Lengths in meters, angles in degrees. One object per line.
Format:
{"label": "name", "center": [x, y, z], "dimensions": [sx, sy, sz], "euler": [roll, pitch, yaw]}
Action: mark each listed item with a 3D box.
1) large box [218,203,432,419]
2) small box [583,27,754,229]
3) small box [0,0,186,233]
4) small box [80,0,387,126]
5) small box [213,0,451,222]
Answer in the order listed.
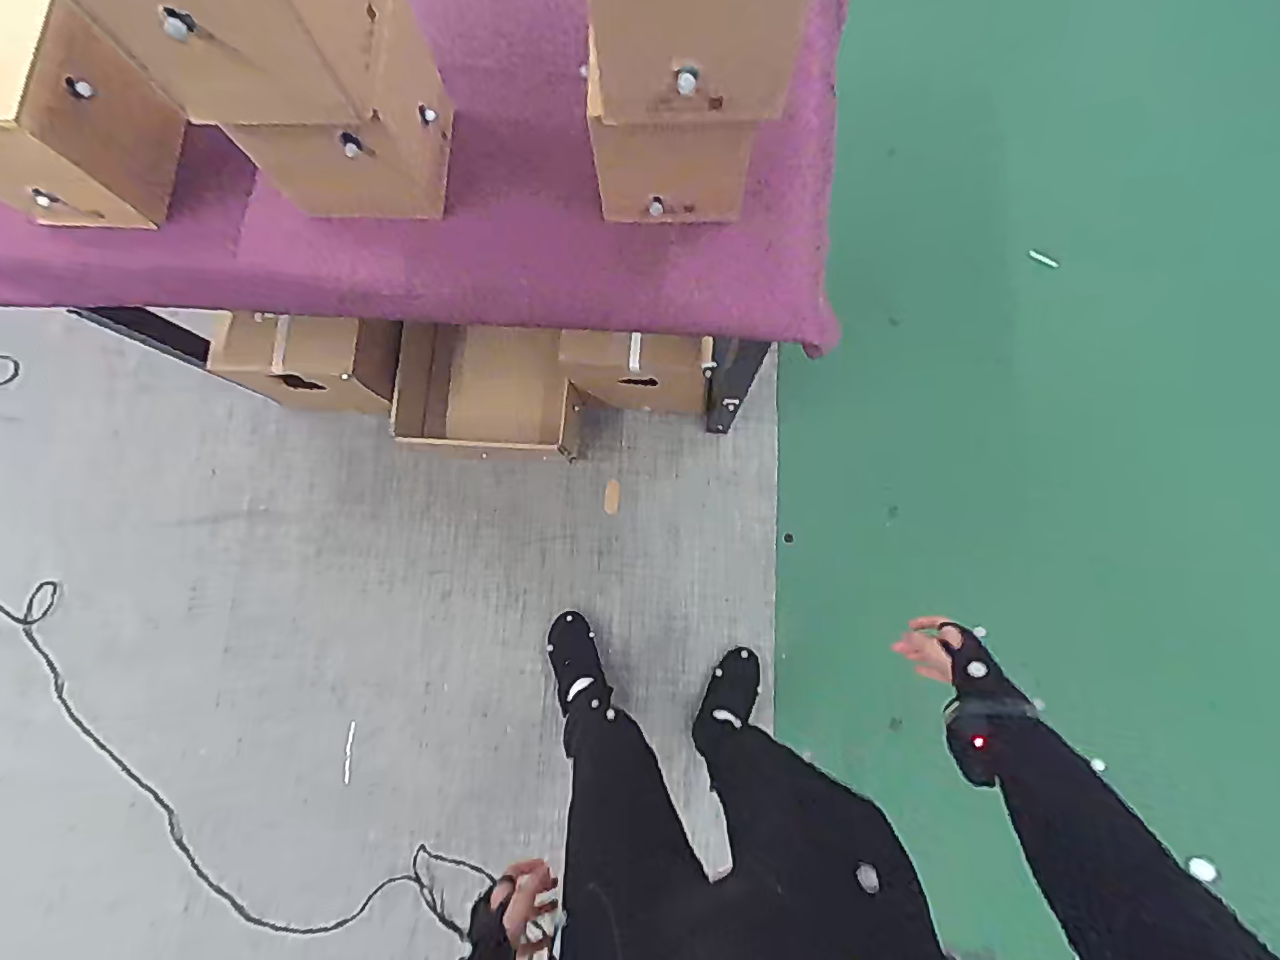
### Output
{"label": "large box", "center": [-0.720, -0.383, 1.297], "dimensions": [0.320, 0.320, 0.408], "euler": [3, 82, 2]}
{"label": "small box", "center": [0.033, -0.411, 0.602], "dimensions": [0.168, 0.176, 0.179], "euler": [0, 79, 4]}
{"label": "small box", "center": [-0.686, -0.421, 0.630], "dimensions": [0.168, 0.176, 0.179], "euler": [3, 80, 2]}
{"label": "small box", "center": [-0.345, -0.430, 0.451], "dimensions": [0.179, 0.176, 0.168], "euler": [1, 80, 3]}
{"label": "small box", "center": [-0.334, -0.419, 0.616], "dimensions": [0.179, 0.176, 0.168], "euler": [2, 79, 3]}
